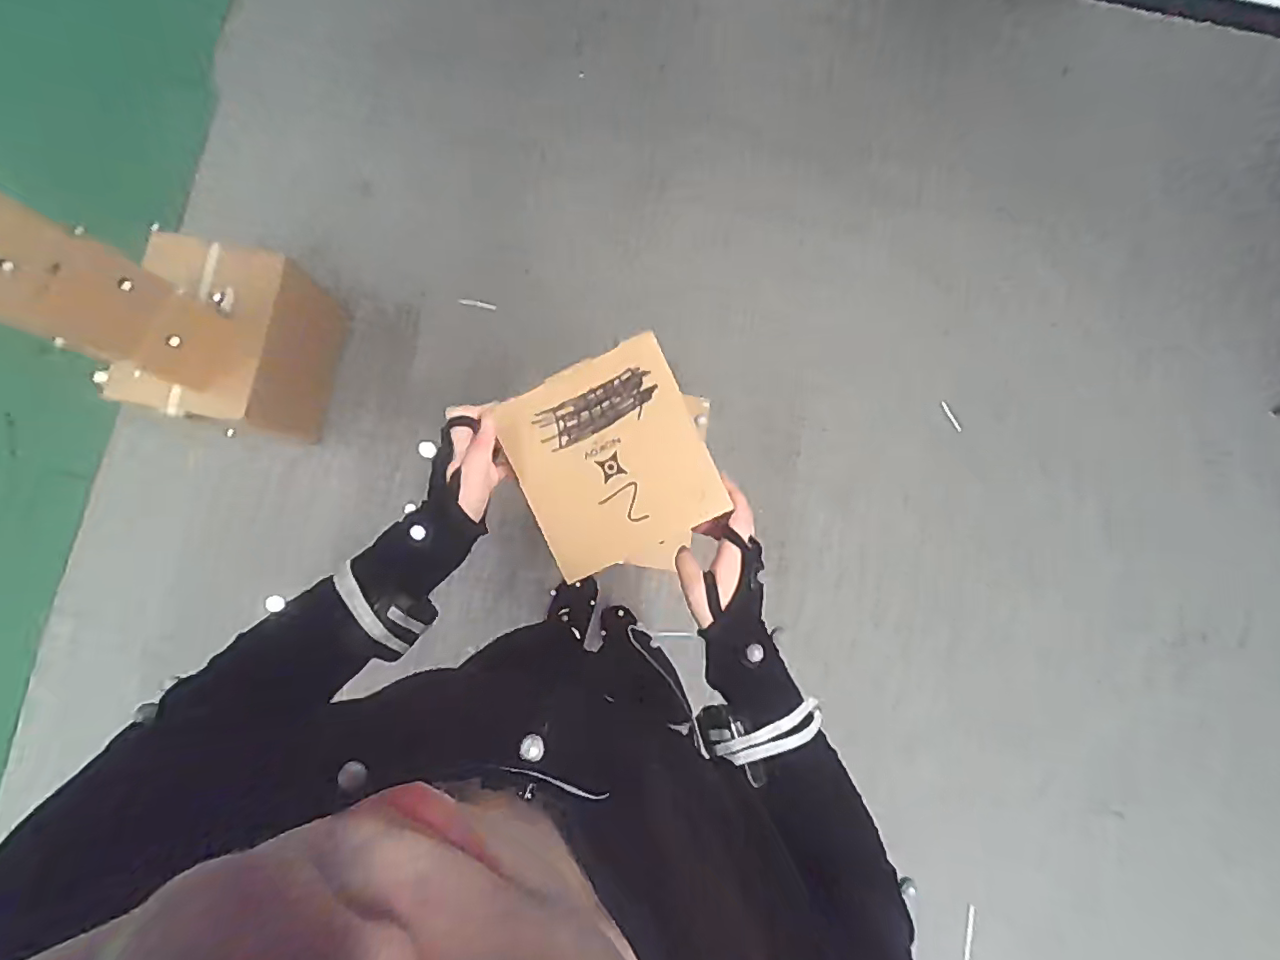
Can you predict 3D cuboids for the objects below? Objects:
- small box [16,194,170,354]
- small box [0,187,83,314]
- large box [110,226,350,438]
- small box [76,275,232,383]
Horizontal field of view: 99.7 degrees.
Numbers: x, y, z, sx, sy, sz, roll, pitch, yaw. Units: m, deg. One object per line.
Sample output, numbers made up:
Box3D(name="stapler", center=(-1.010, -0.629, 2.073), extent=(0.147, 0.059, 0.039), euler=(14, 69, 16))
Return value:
Box3D(name="small box", center=(-0.994, -0.351, 0.953), extent=(0.168, 0.176, 0.179), euler=(24, 85, 1))
Box3D(name="small box", center=(-0.998, -0.367, 0.789), extent=(0.179, 0.176, 0.168), euler=(25, 83, 1))
Box3D(name="large box", center=(-0.992, -0.347, 1.360), extent=(0.320, 0.320, 0.408), euler=(10, 83, -1))
Box3D(name="small box", center=(-0.997, -0.324, 1.113), extent=(0.168, 0.176, 0.179), euler=(21, 84, 0))
